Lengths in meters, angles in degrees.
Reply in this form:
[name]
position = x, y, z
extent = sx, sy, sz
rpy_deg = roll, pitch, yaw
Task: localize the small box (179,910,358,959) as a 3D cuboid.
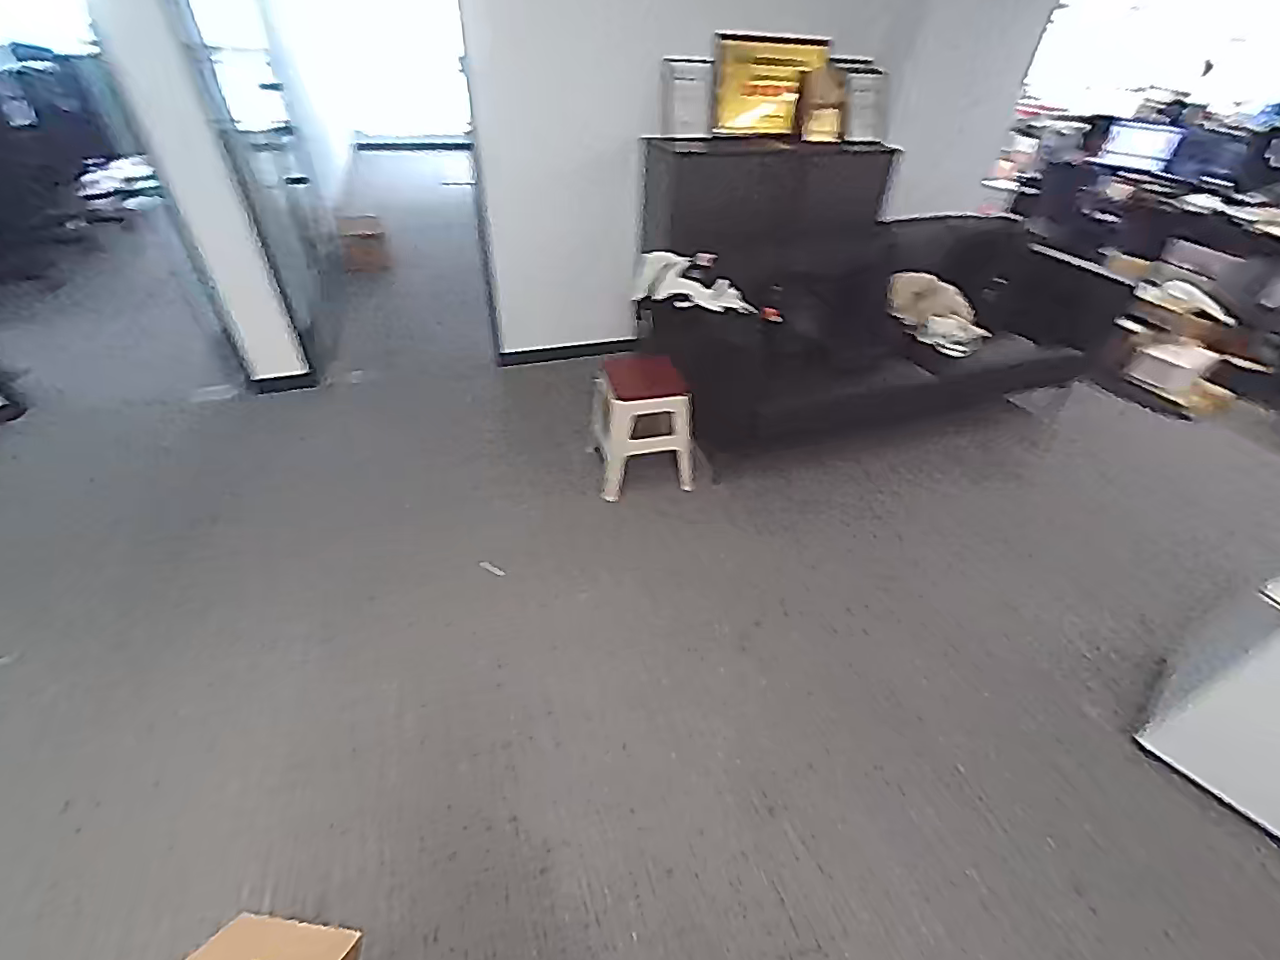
[small box]
position = -0.453, 0.636, 0.601
extent = 0.168, 0.179, 0.176
rpy_deg = 6, 83, 3
